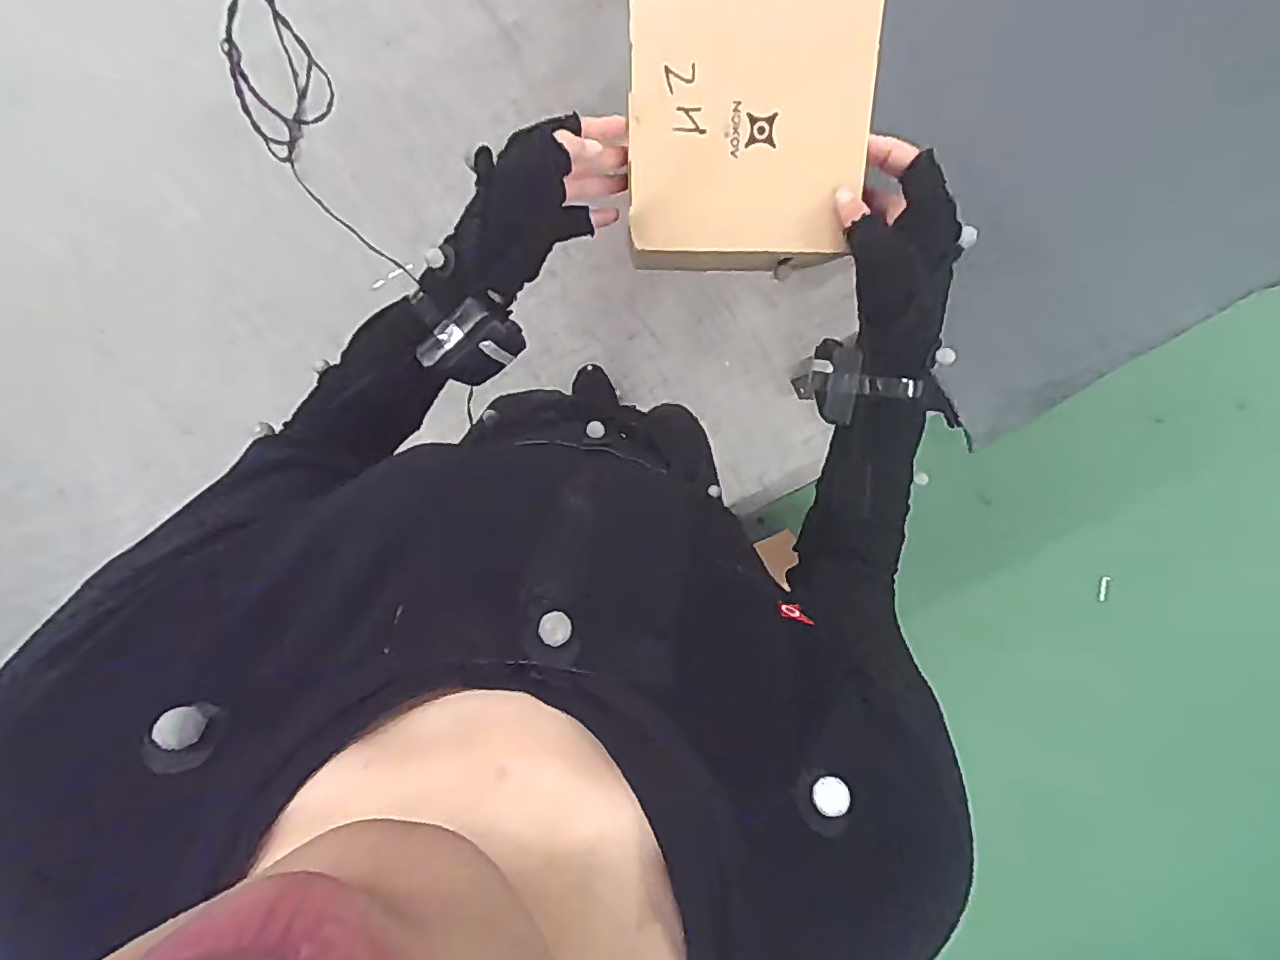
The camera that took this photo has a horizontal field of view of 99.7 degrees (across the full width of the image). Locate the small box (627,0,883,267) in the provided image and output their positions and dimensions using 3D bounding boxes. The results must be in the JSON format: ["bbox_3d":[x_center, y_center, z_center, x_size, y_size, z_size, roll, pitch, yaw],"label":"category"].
[{"bbox_3d":[0.078,-0.280,0.465,0.179,0.176,0.168,0,106,0],"label":"small box"}]
